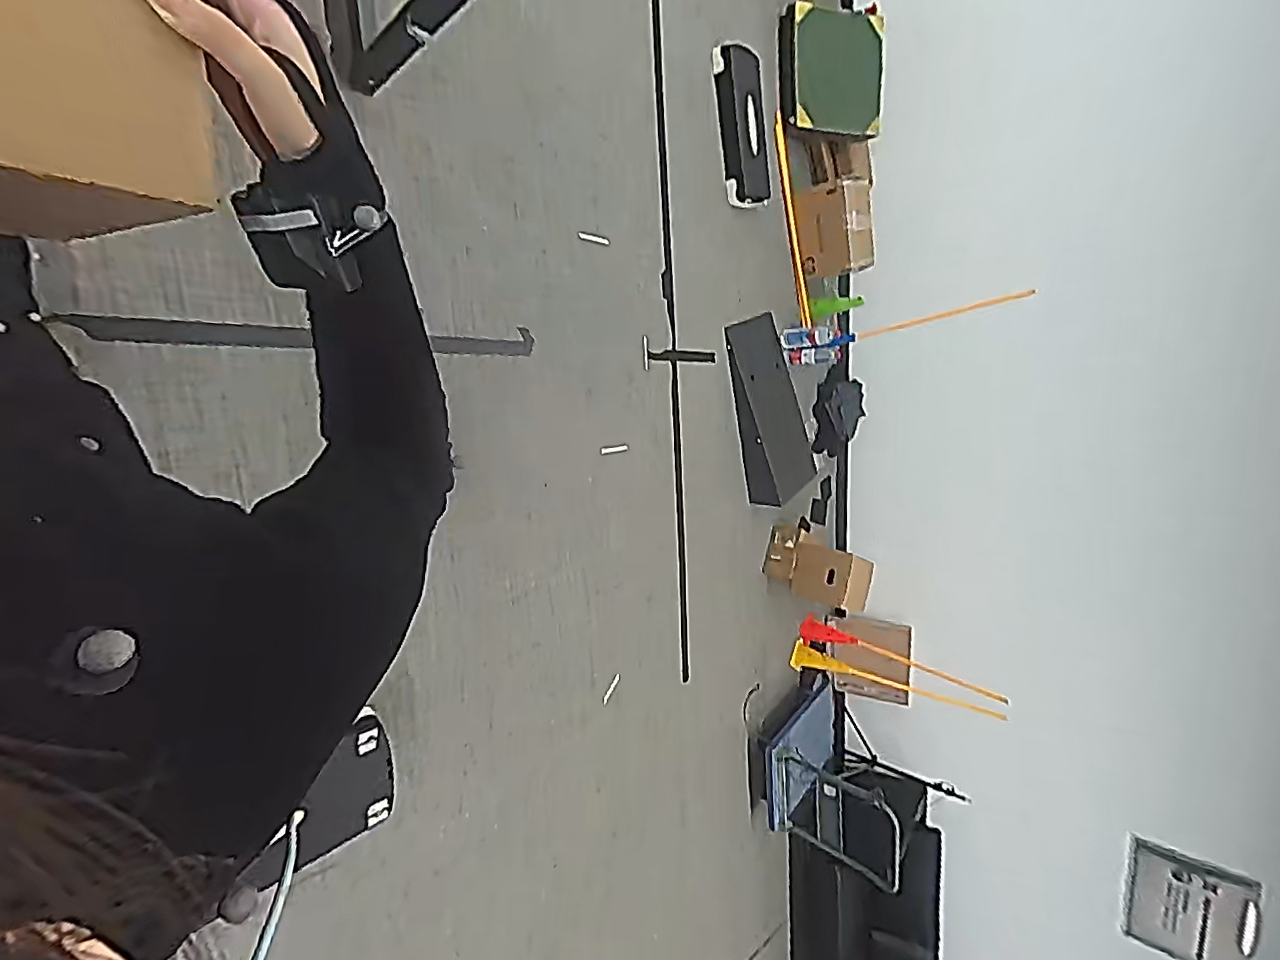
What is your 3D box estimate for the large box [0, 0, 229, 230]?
[{"bbox_3d":[-0.439,-0.284,0.168,0.408,0.320,0.320,-16,113,-54],"label":"large box"}]
